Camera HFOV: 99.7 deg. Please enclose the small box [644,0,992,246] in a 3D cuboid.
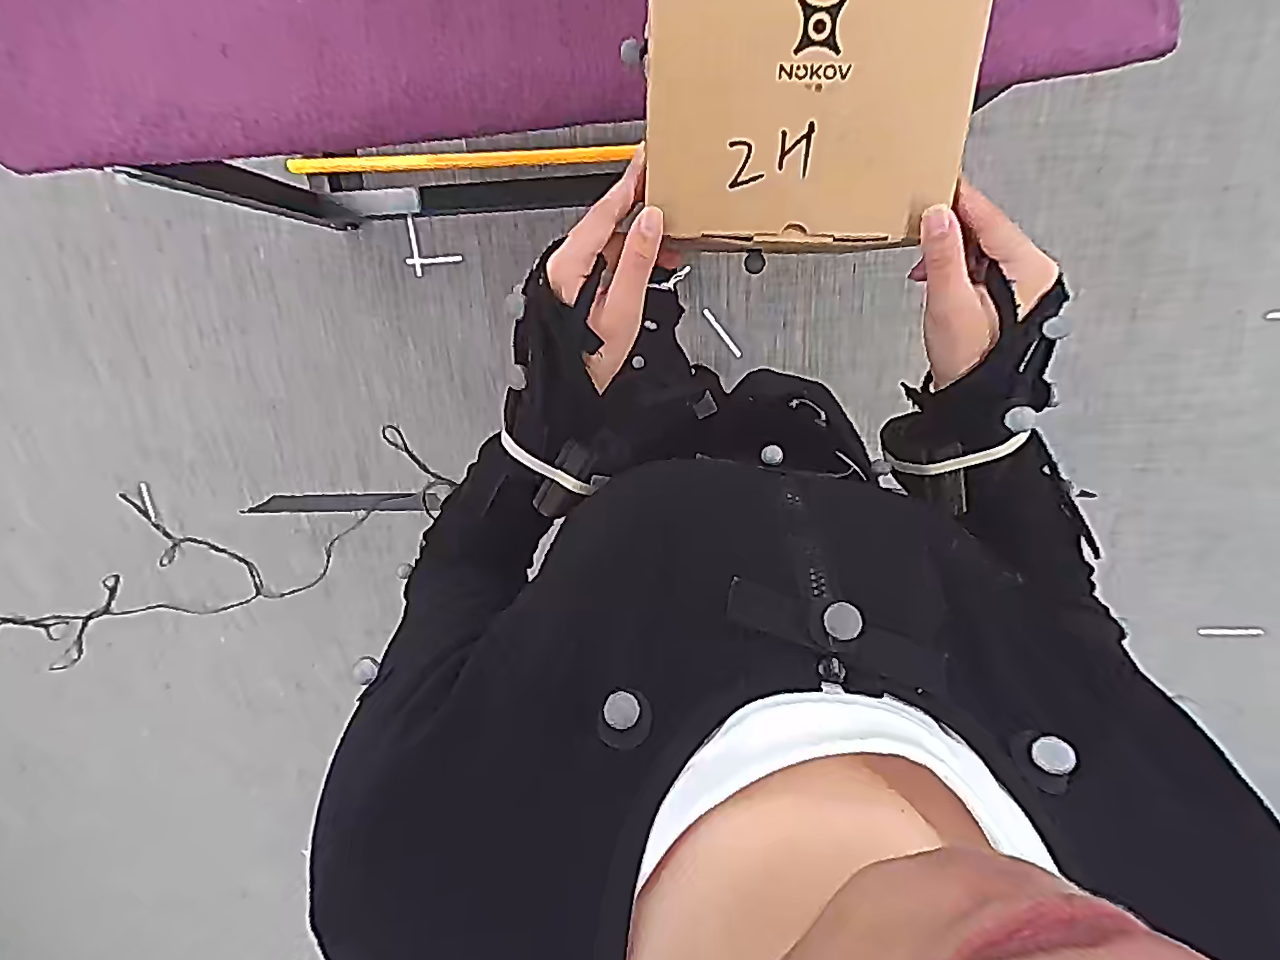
[{"bbox_3d":[0.088,-0.250,0.338,0.168,0.176,0.179,2,110,1],"label":"small box"}]
